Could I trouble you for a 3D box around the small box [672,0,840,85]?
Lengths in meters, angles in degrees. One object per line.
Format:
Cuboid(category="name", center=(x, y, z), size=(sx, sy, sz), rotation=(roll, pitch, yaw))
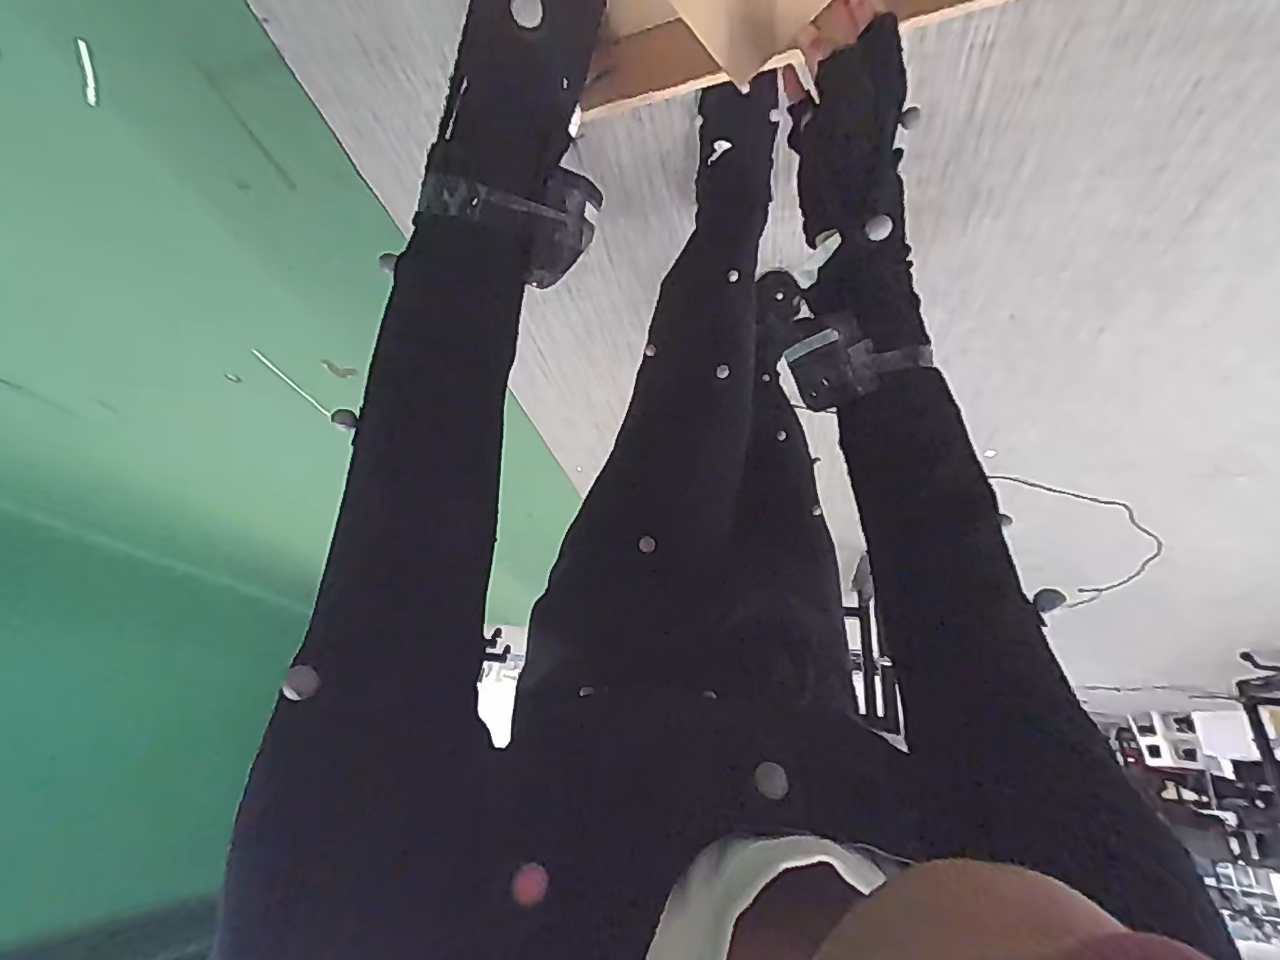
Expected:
Cuboid(category="small box", center=(0.078, -0.427, 0.349), size=(0.179, 0.176, 0.168), rotation=(23, 149, -36))
